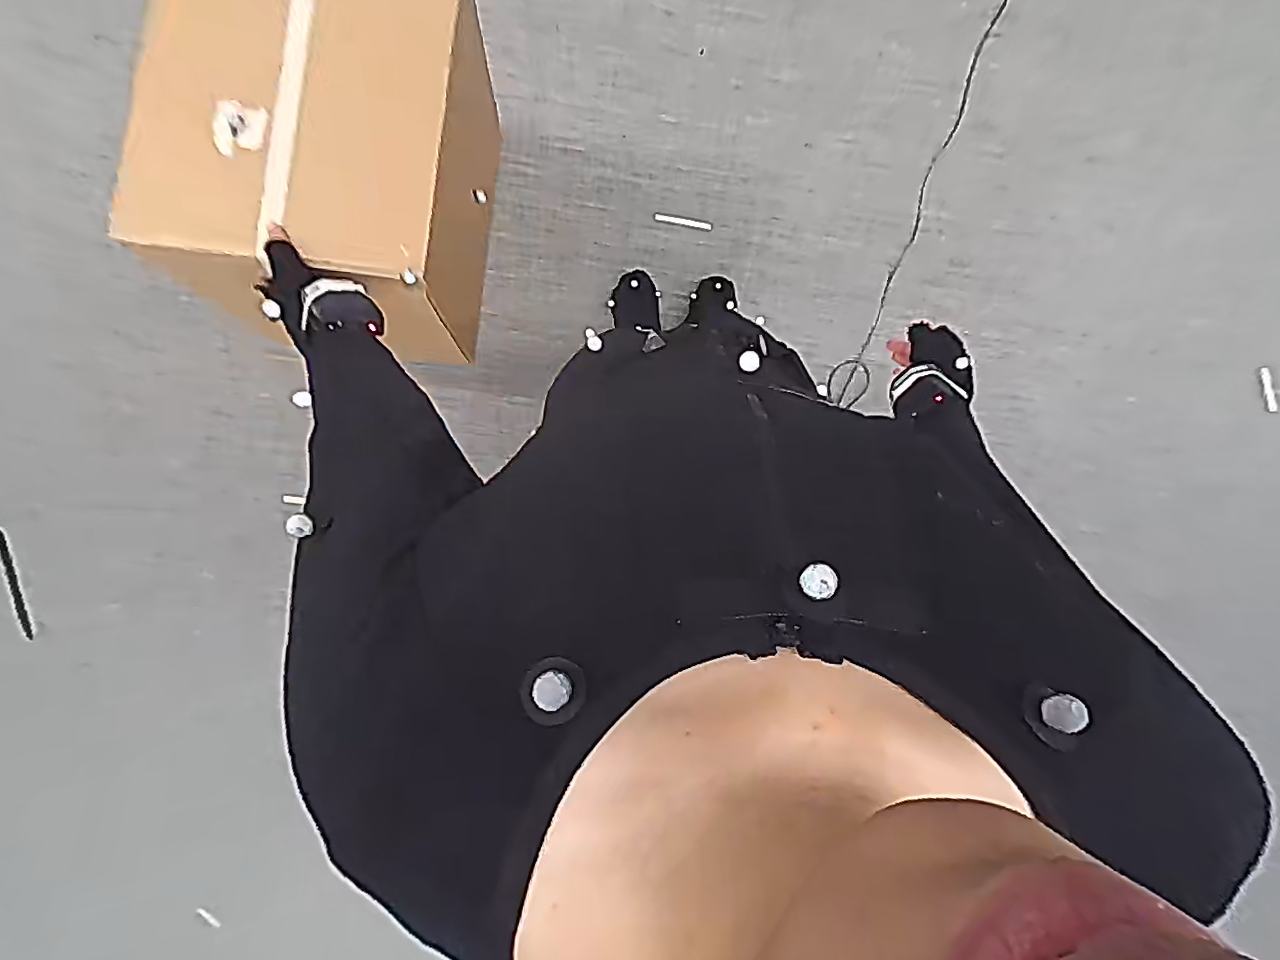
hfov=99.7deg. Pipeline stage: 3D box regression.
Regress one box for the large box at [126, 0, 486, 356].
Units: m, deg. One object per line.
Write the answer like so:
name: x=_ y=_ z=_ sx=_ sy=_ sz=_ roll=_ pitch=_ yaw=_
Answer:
large box: x=-0.399 y=-0.421 z=0.744 sx=0.320 sy=0.320 sz=0.408 roll=4 pitch=86 yaw=-7
